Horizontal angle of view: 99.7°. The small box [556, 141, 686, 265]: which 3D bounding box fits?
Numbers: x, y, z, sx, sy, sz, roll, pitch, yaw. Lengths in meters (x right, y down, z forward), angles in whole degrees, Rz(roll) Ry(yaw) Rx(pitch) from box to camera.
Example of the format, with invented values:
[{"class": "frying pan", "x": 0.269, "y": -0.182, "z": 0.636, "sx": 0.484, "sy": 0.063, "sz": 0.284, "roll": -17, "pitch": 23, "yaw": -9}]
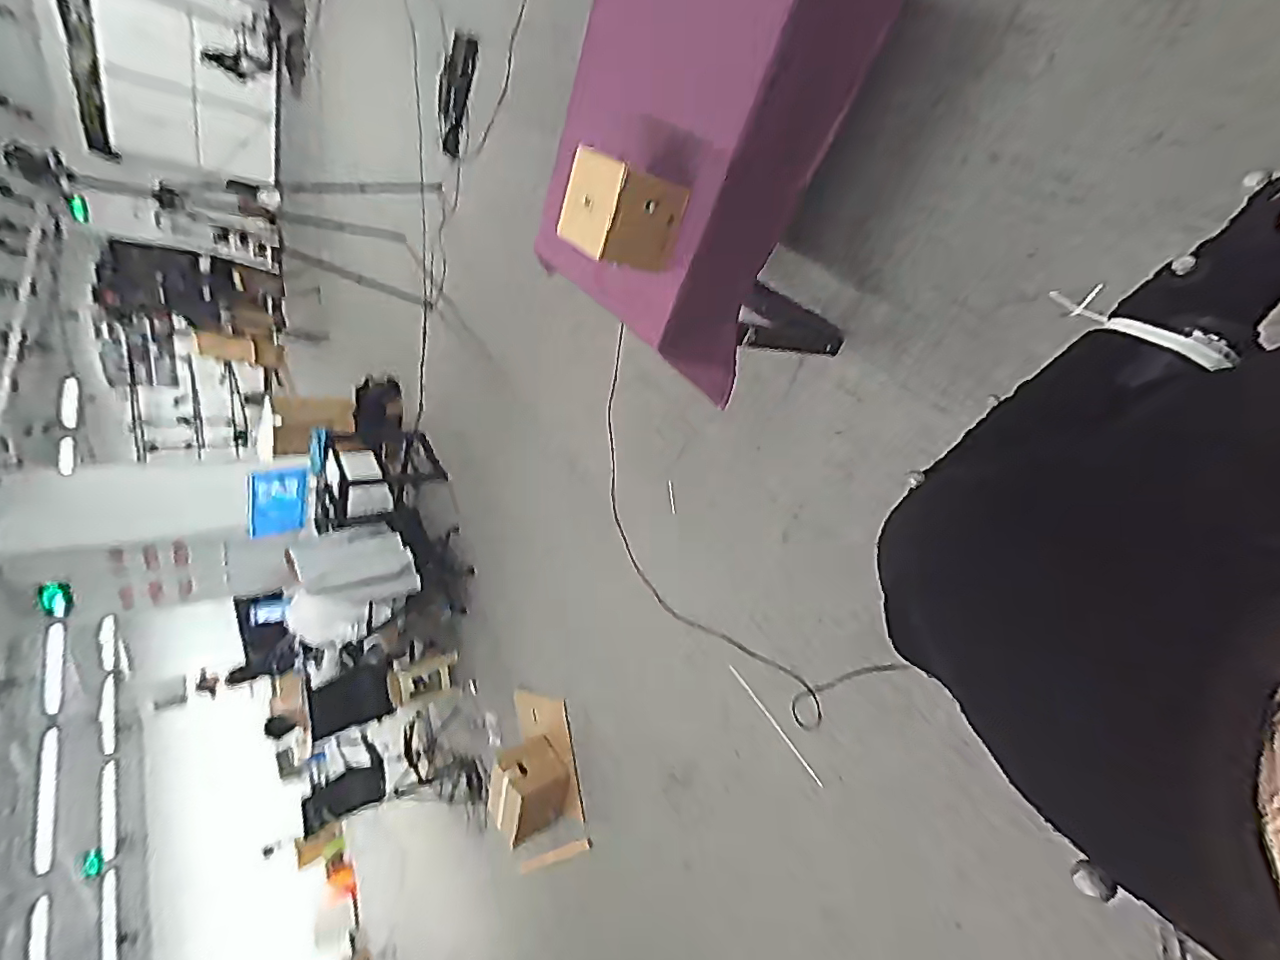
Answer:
[{"class": "small box", "x": -0.038, "y": -0.547, "z": 1.084, "sx": 0.179, "sy": 0.176, "sz": 0.168, "roll": 47, "pitch": 127, "yaw": 36}]
